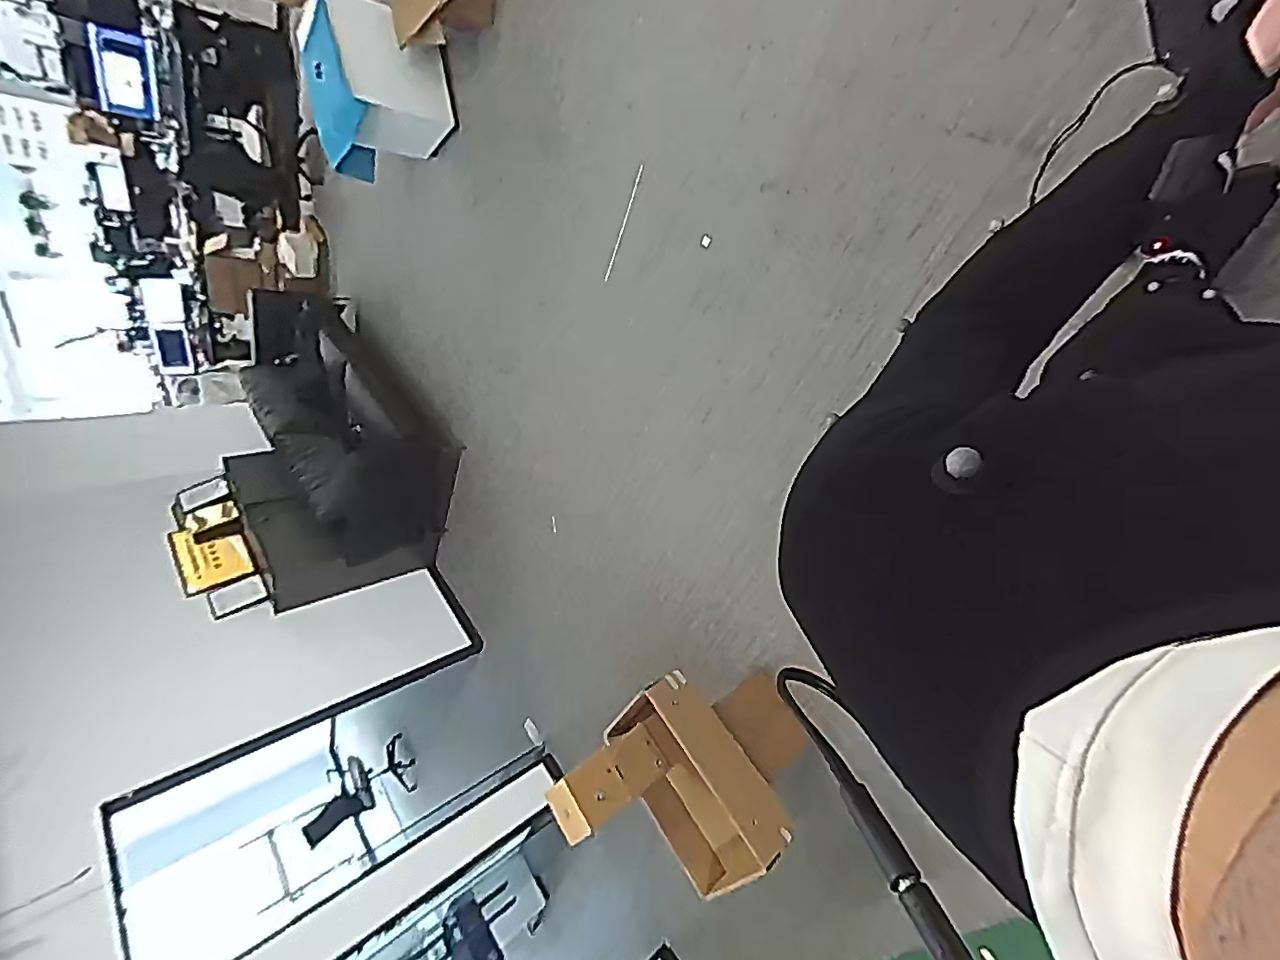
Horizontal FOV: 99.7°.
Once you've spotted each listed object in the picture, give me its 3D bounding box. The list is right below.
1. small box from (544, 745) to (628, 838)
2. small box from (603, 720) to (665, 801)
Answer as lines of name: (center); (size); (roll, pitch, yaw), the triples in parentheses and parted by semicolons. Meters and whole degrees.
small box: (-0.160, 0.948, 1.655); (0.168, 0.176, 0.179); (52, 133, 21)
small box: (-0.044, 0.918, 1.765); (0.168, 0.176, 0.179); (52, 133, 22)
